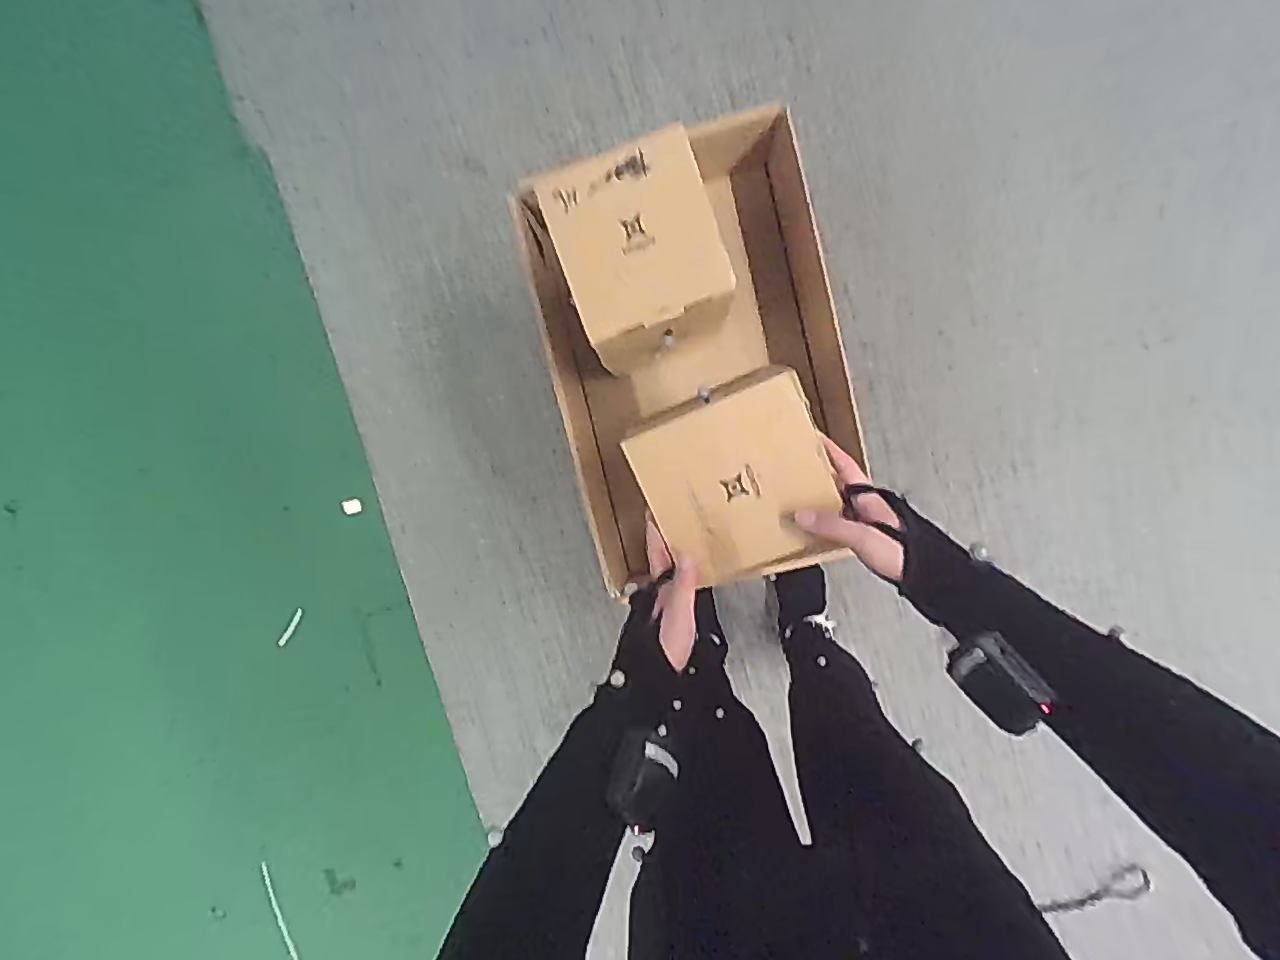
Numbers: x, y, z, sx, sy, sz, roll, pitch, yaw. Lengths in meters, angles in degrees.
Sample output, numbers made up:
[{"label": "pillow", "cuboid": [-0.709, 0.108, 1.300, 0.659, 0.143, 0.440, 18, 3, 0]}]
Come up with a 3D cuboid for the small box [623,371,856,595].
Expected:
[{"label": "small box", "cuboid": [0.097, -0.010, 0.579, 0.179, 0.176, 0.168, -23, 100, 9]}]

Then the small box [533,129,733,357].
[{"label": "small box", "cuboid": [0.001, -0.252, 0.630, 0.168, 0.176, 0.179, -19, 94, 6]}]
